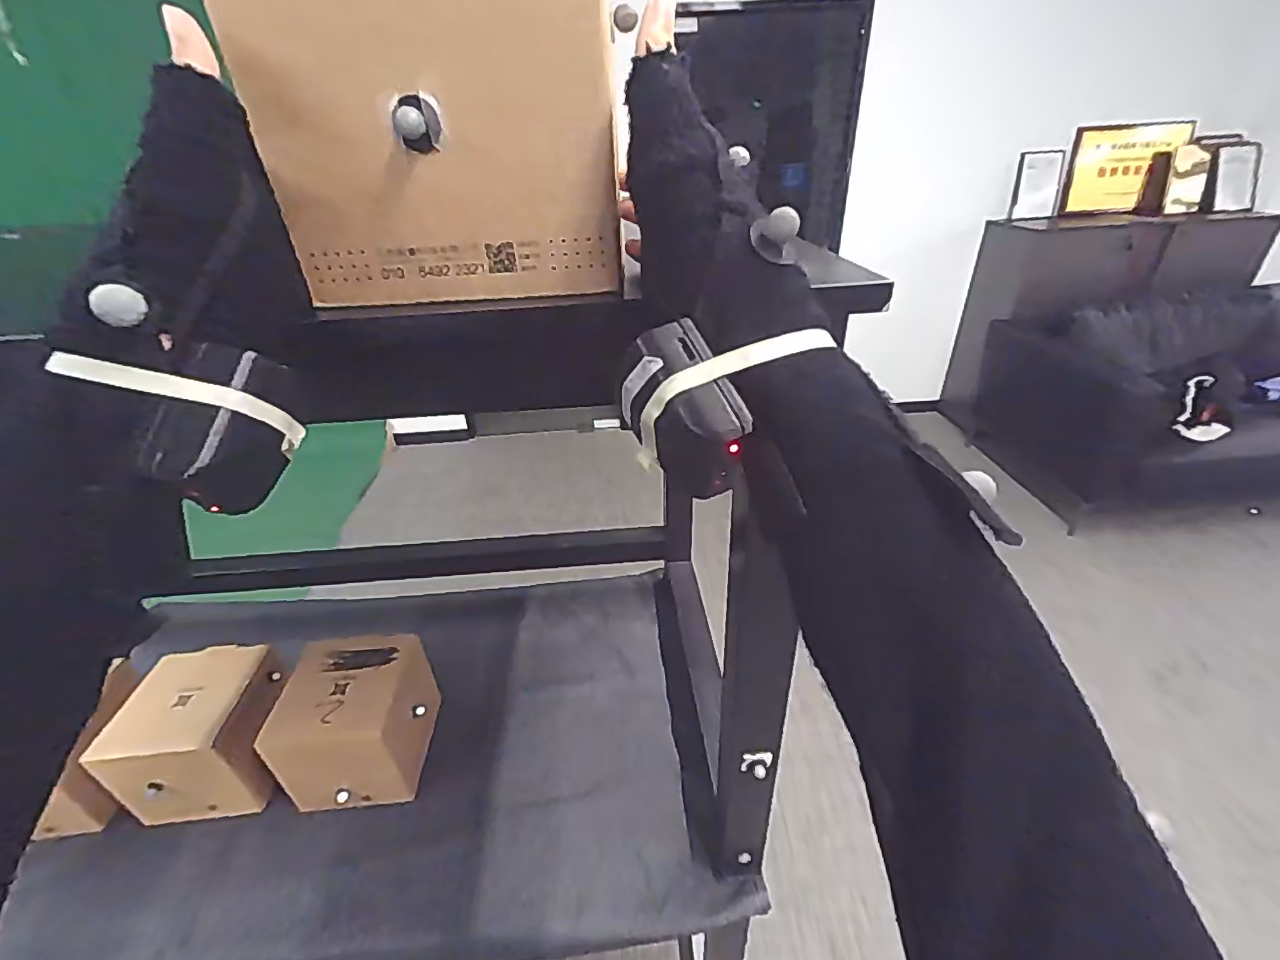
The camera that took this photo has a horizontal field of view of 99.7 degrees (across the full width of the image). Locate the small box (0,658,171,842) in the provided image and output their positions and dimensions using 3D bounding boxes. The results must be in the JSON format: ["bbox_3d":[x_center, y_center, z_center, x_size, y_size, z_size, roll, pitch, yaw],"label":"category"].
[{"bbox_3d":[-0.852,0.395,0.799,0.168,0.176,0.179,-5,32,-4],"label":"small box"}]

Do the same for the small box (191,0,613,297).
[{"bbox_3d":[-0.104,-0.209,0.318,0.168,0.176,0.179,-3,31,1],"label":"small box"}]
